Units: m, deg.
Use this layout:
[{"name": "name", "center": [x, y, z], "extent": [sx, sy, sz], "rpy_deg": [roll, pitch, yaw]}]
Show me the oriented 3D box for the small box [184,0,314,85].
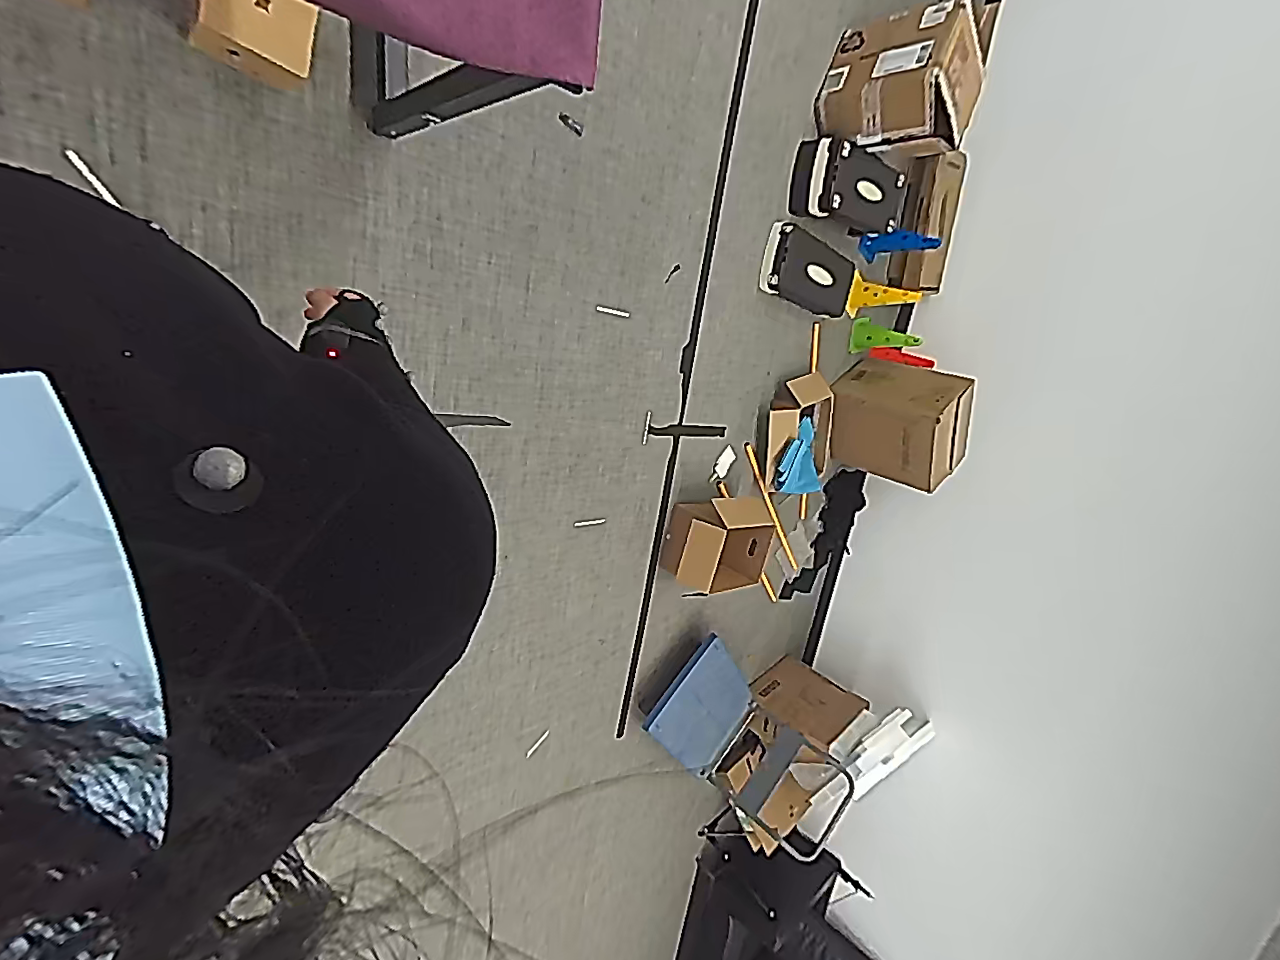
[{"name": "small box", "center": [-0.728, -0.882, 1.007], "extent": [0.168, 0.176, 0.179], "rpy_deg": [6, 102, -47]}]
